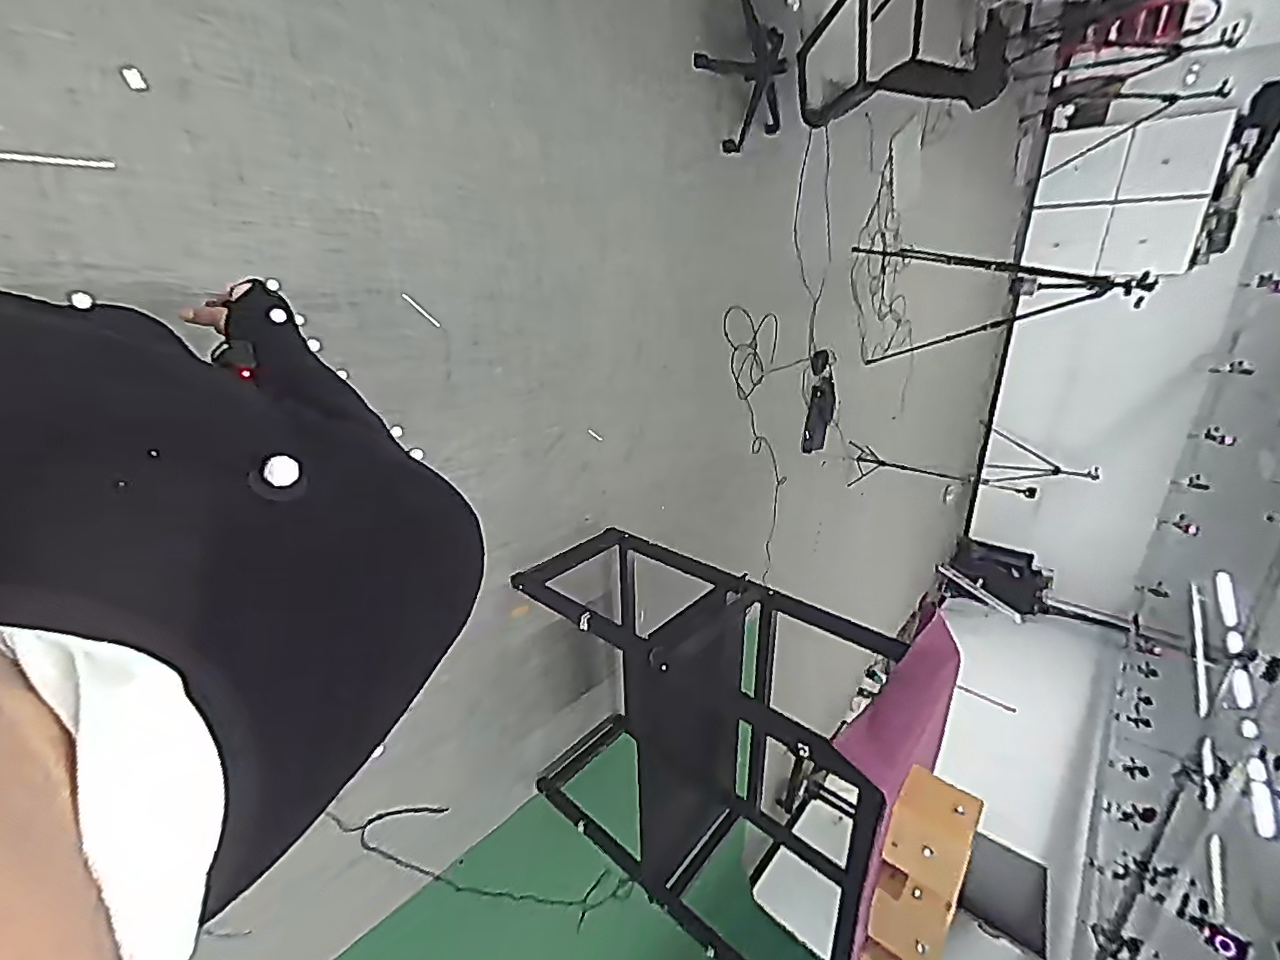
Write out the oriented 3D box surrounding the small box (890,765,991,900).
[{"bbox_3d":[0.724,0.841,1.309,0.179,0.176,0.168,-19,117,-47],"label":"small box"}]
